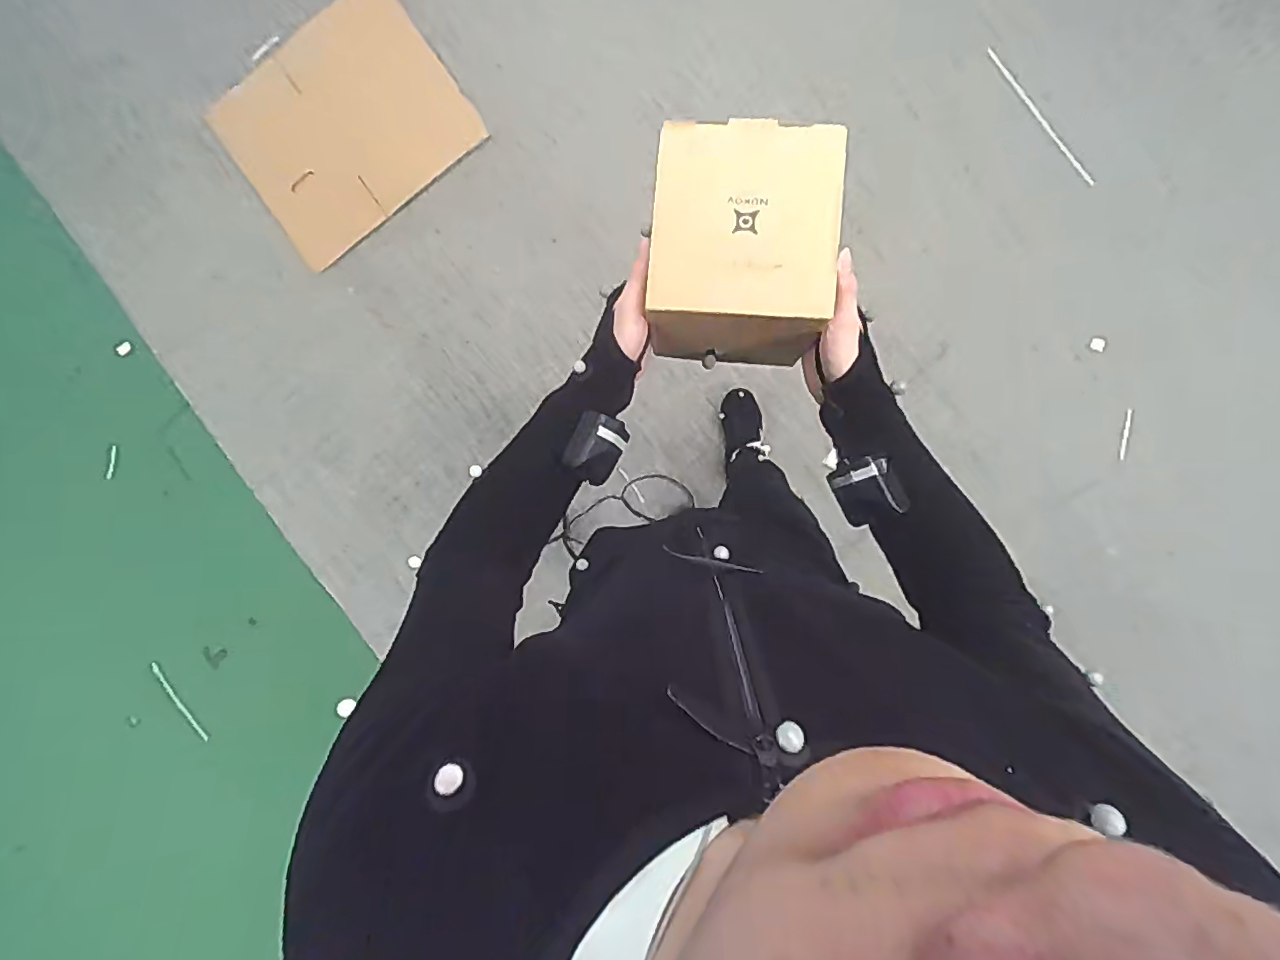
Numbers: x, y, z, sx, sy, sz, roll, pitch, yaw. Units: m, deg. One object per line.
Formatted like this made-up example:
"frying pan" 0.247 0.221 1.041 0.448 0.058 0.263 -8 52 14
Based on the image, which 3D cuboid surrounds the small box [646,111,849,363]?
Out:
"small box" 0.099 -0.231 0.549 0.168 0.176 0.179 5 88 5
